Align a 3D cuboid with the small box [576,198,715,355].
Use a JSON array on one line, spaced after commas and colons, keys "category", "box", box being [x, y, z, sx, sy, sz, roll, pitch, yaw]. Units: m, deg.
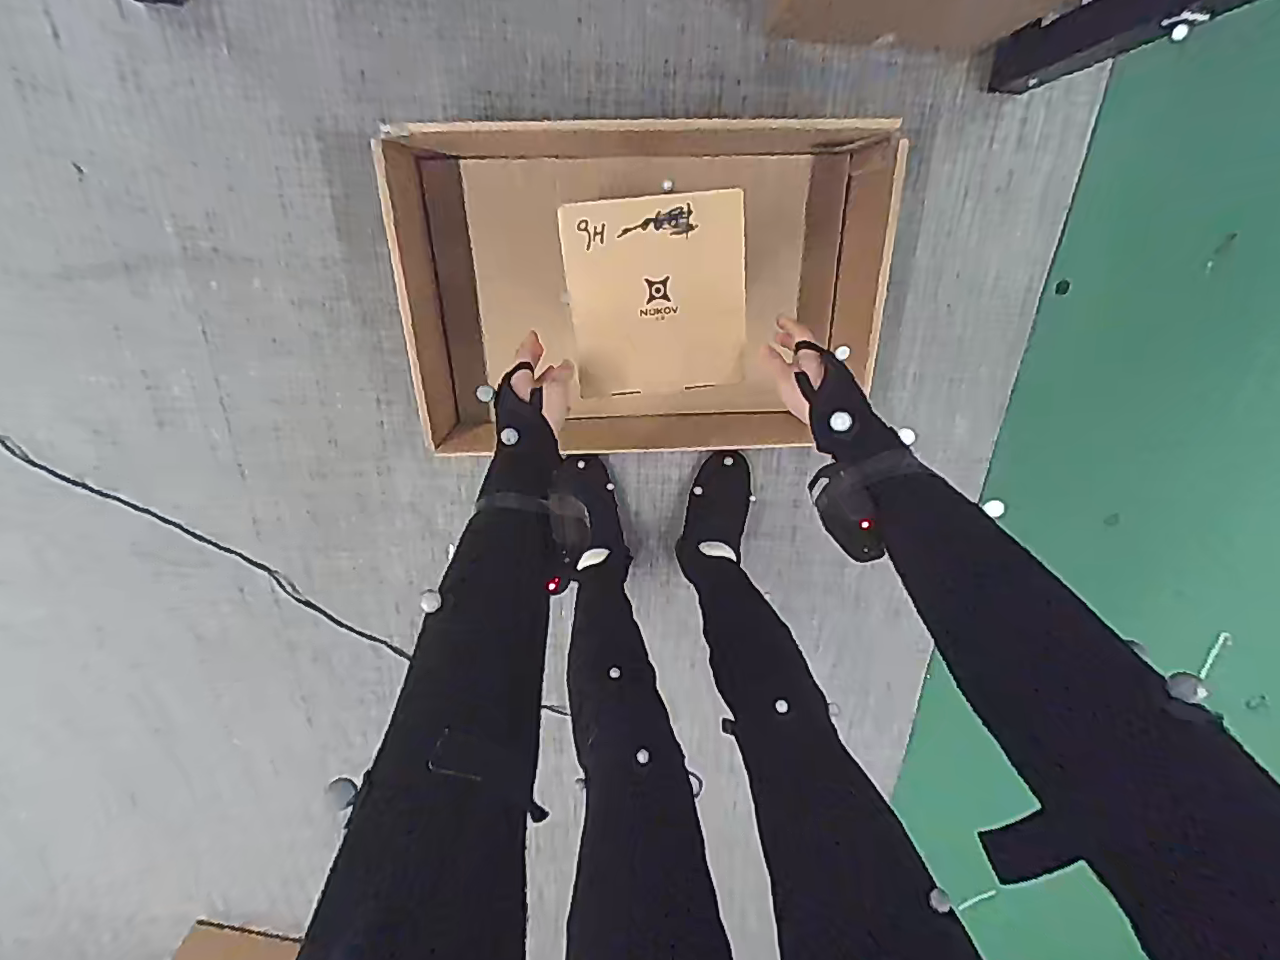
[{"category": "small box", "box": [0.004, -0.271, 0.725, 0.168, 0.176, 0.179, -3, 114, -2]}]
